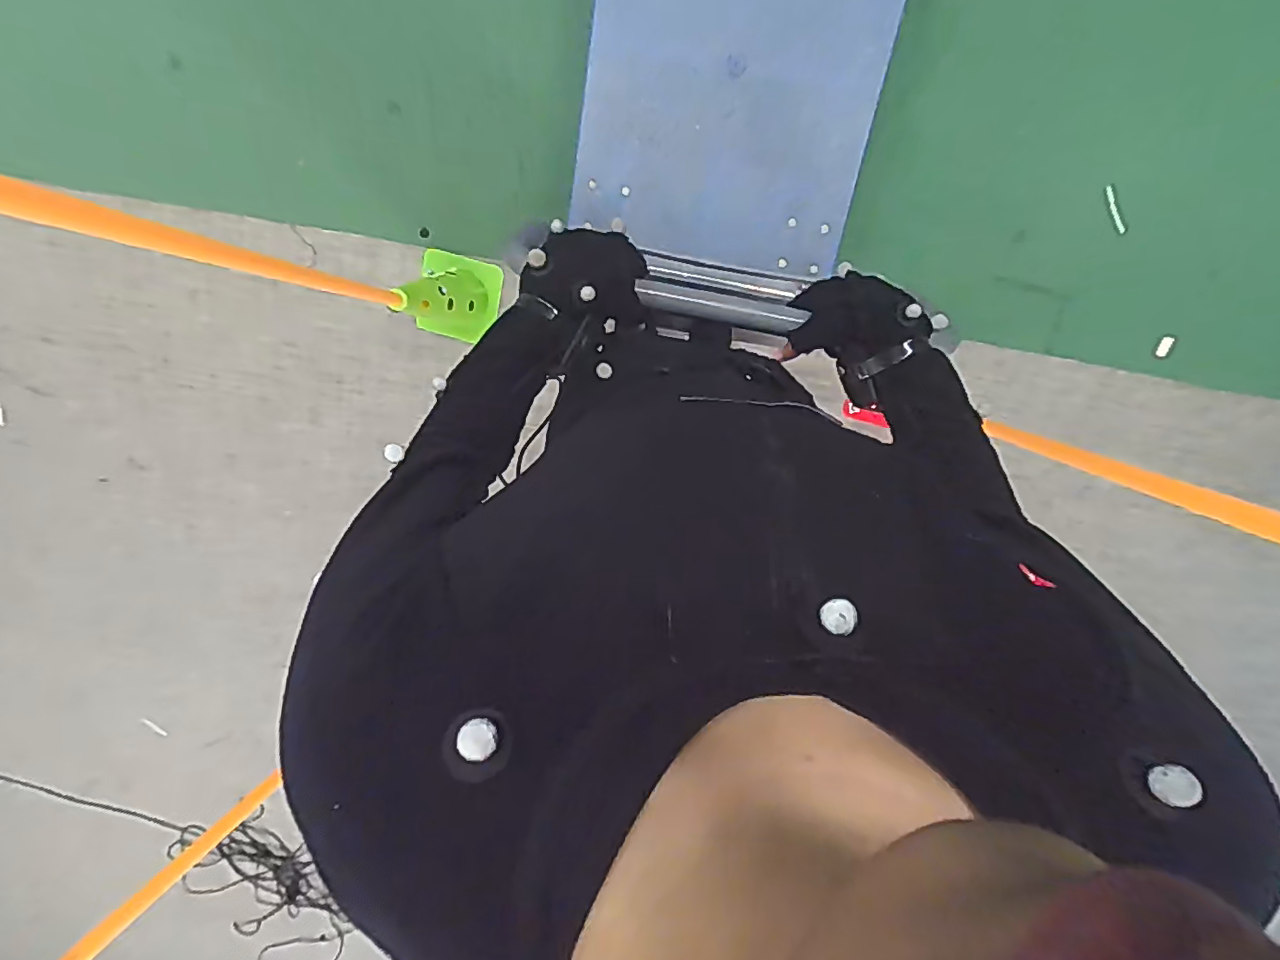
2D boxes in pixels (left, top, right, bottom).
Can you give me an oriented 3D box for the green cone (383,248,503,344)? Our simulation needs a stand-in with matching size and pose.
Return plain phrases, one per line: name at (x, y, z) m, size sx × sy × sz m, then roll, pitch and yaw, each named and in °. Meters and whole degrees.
green cone at (-0.462, -0.410, 1.205) m, size 0.202 × 0.368 × 0.200 m, roll 14°, pitch 108°, yaw -2°
